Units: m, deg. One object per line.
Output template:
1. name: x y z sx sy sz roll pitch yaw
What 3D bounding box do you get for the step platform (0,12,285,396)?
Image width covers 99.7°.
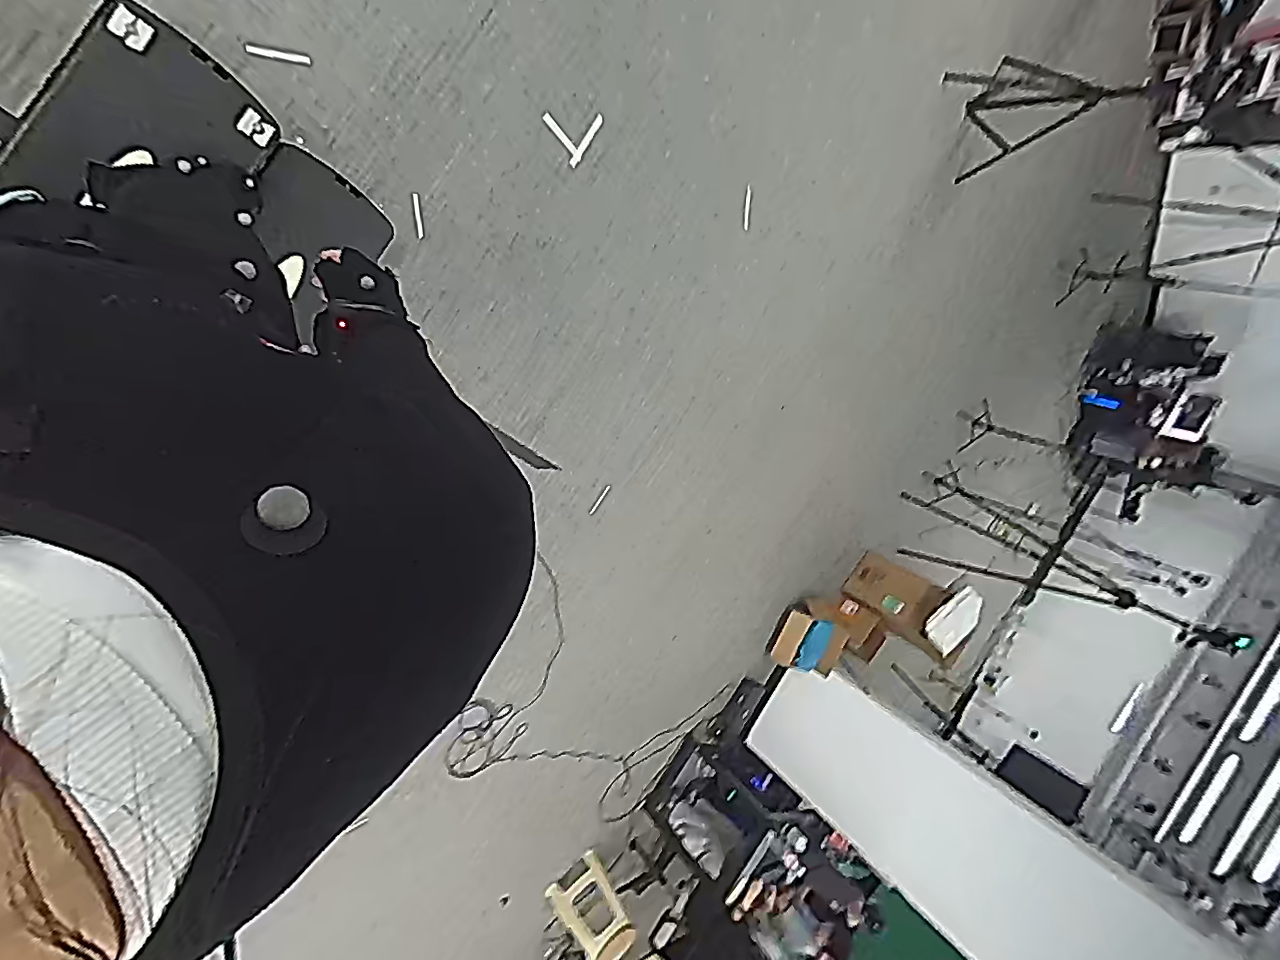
1. step platform: -1.006 -0.508 1.046 0.286 0.204 0.684 34 87 -48
